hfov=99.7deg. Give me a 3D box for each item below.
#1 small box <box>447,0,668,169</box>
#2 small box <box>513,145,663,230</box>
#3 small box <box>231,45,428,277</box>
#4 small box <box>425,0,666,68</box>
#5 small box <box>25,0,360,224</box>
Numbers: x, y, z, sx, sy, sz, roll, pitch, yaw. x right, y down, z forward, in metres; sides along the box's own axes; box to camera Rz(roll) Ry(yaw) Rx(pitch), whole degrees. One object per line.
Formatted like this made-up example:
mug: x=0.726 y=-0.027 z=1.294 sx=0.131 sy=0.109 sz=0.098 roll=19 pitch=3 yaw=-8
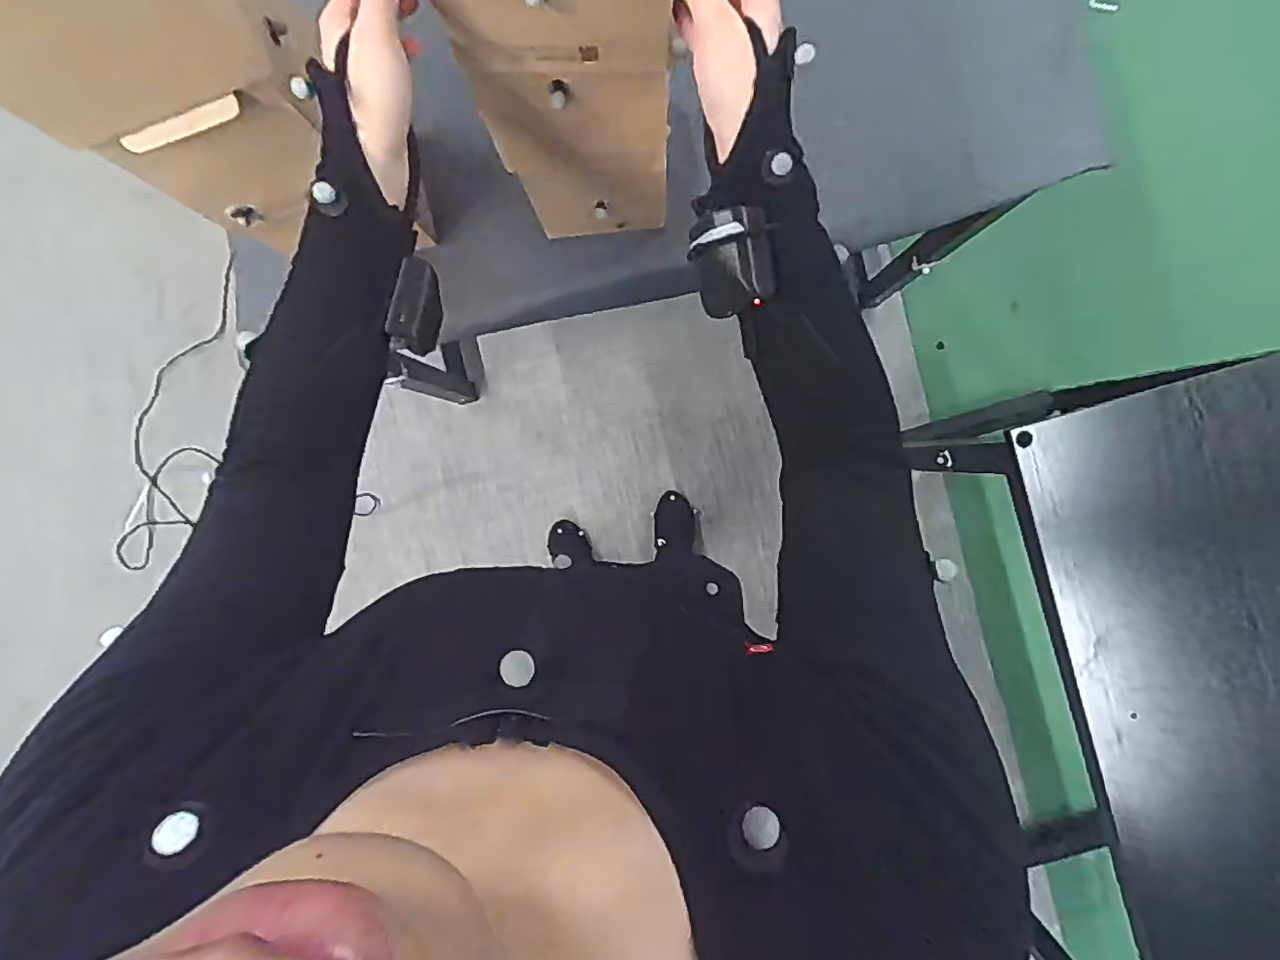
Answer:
small box: x=-0.063 y=-0.415 z=0.502 sx=0.179 sy=0.176 sz=0.168 roll=0 pitch=91 yaw=3
small box: x=-0.060 y=-0.427 z=0.665 sx=0.168 sy=0.176 sz=0.179 roll=-5 pitch=92 yaw=3
small box: x=-0.390 y=-0.383 z=0.681 sx=0.179 sy=0.176 sz=0.168 roll=-16 pitch=89 yaw=3
small box: x=-0.065 y=-0.399 z=0.338 sx=0.168 sy=0.176 sz=0.179 roll=2 pitch=91 yaw=3
small box: x=-0.405 y=-0.375 z=0.517 sx=0.168 sy=0.176 sz=0.179 roll=-19 pitch=89 yaw=2
